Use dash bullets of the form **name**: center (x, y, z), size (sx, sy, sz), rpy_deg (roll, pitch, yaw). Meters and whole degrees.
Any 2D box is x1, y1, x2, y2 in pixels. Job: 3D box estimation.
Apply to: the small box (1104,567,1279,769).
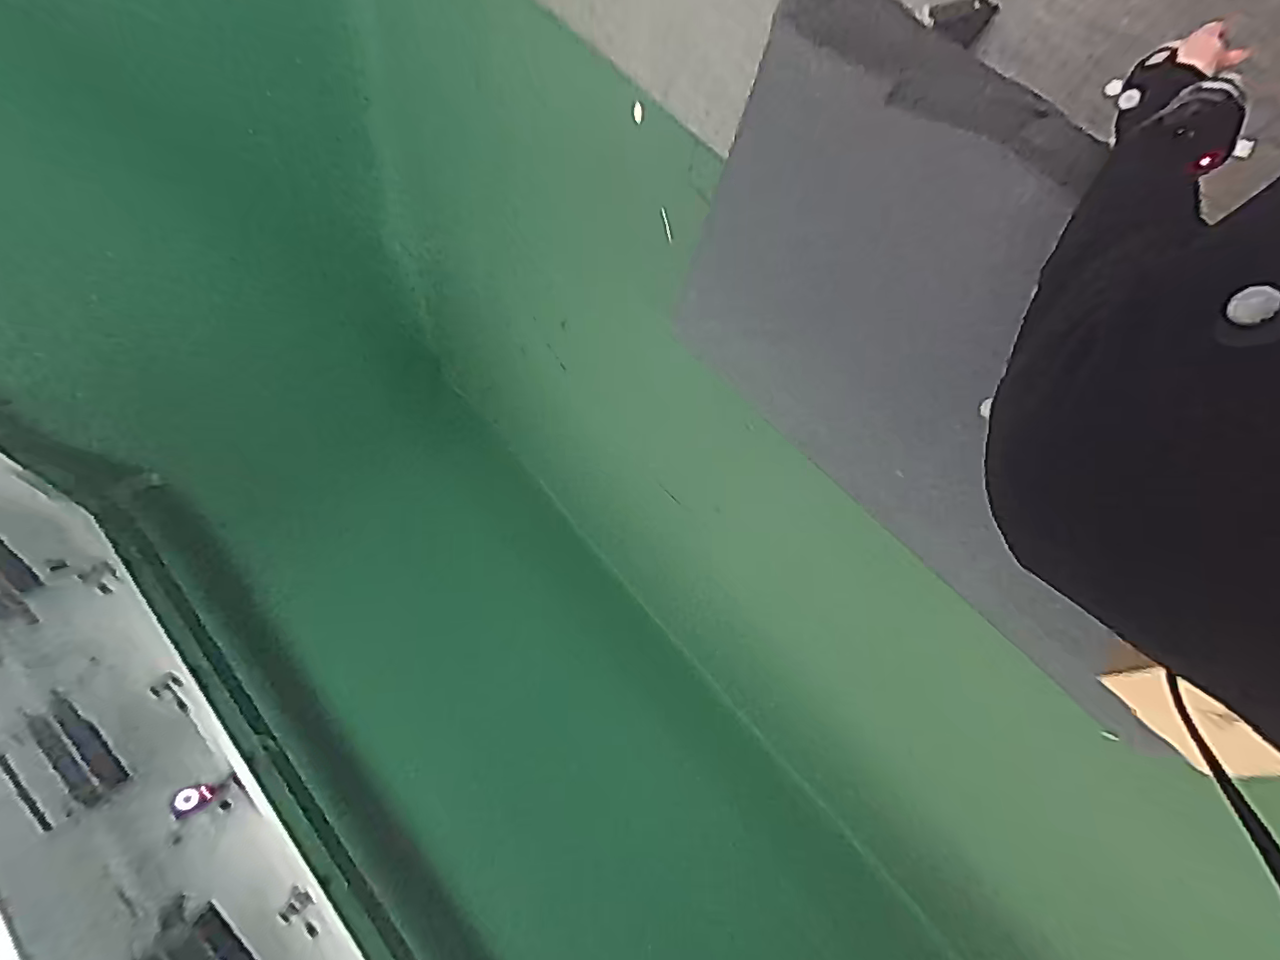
- **small box**: center (0.781, 0.246, 0.707), size (0.168, 0.176, 0.179), rpy_deg (44, 151, 14)
